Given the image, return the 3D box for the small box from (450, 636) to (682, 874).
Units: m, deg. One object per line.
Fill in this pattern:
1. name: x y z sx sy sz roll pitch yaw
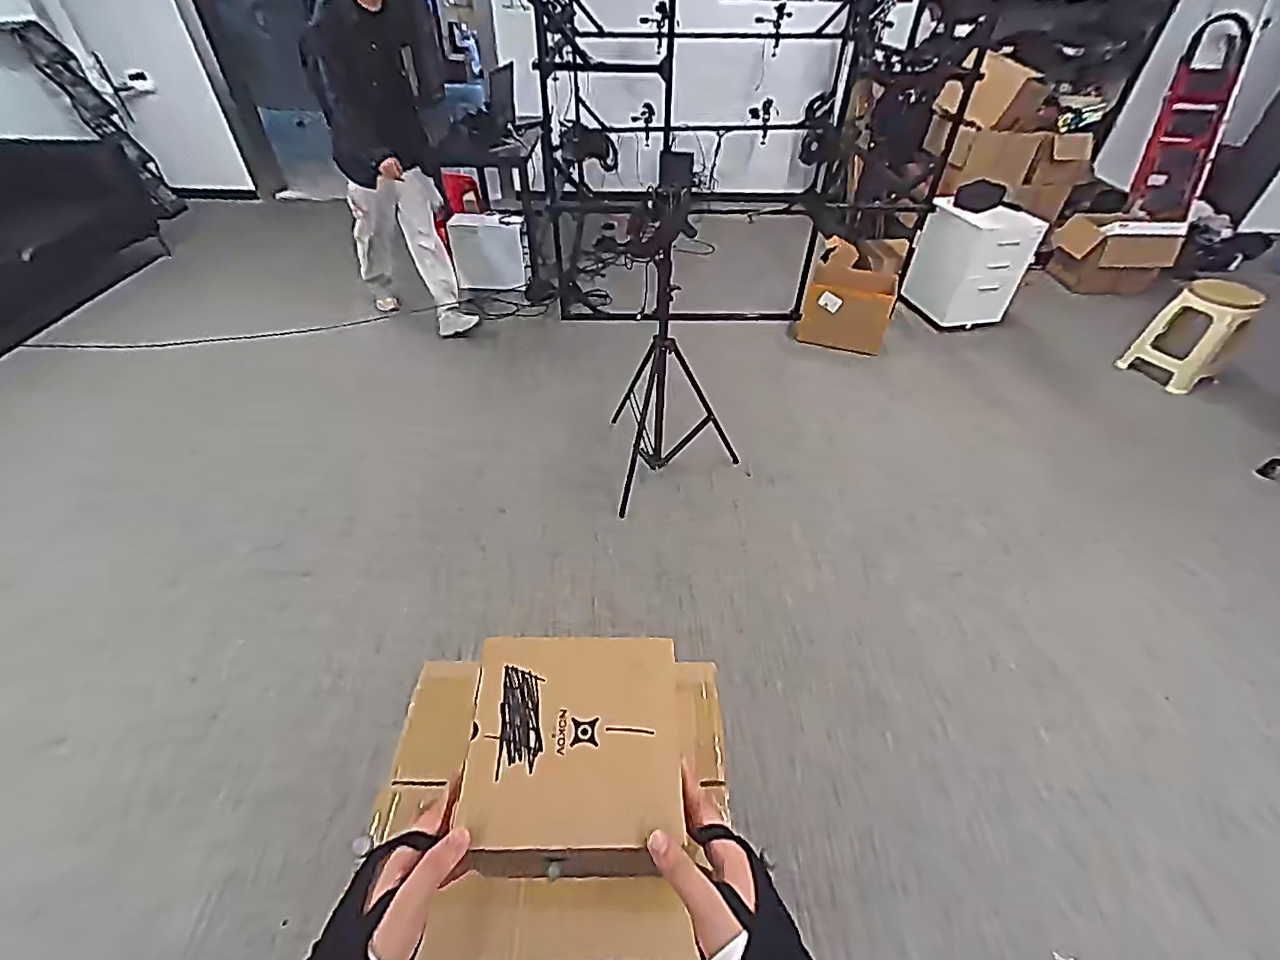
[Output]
1. small box: -0.058 0.262 0.511 0.179 0.176 0.168 1 48 -2

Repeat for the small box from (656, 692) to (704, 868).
1. small box: -0.004 0.415 0.752 0.168 0.176 0.179 -1 45 1
